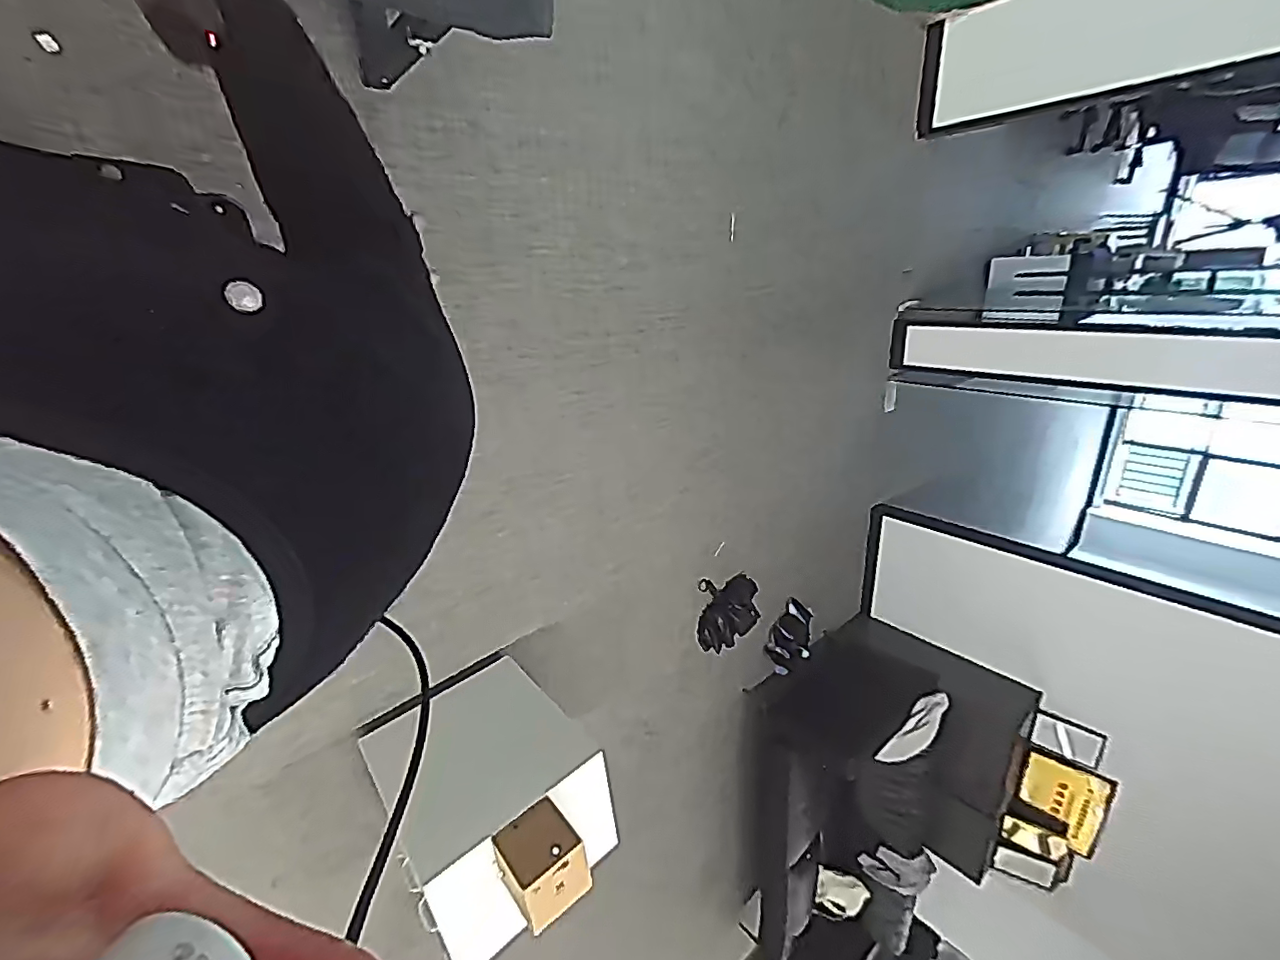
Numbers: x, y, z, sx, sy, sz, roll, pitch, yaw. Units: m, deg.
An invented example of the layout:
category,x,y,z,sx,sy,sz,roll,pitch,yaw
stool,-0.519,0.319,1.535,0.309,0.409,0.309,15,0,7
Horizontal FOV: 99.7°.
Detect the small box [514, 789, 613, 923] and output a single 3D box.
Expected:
category,x,y,z,sx,sy,sz,roll,pitch,yaw
small box,-0.189,0.918,1.336,0.168,0.176,0.179,-25,121,-34
